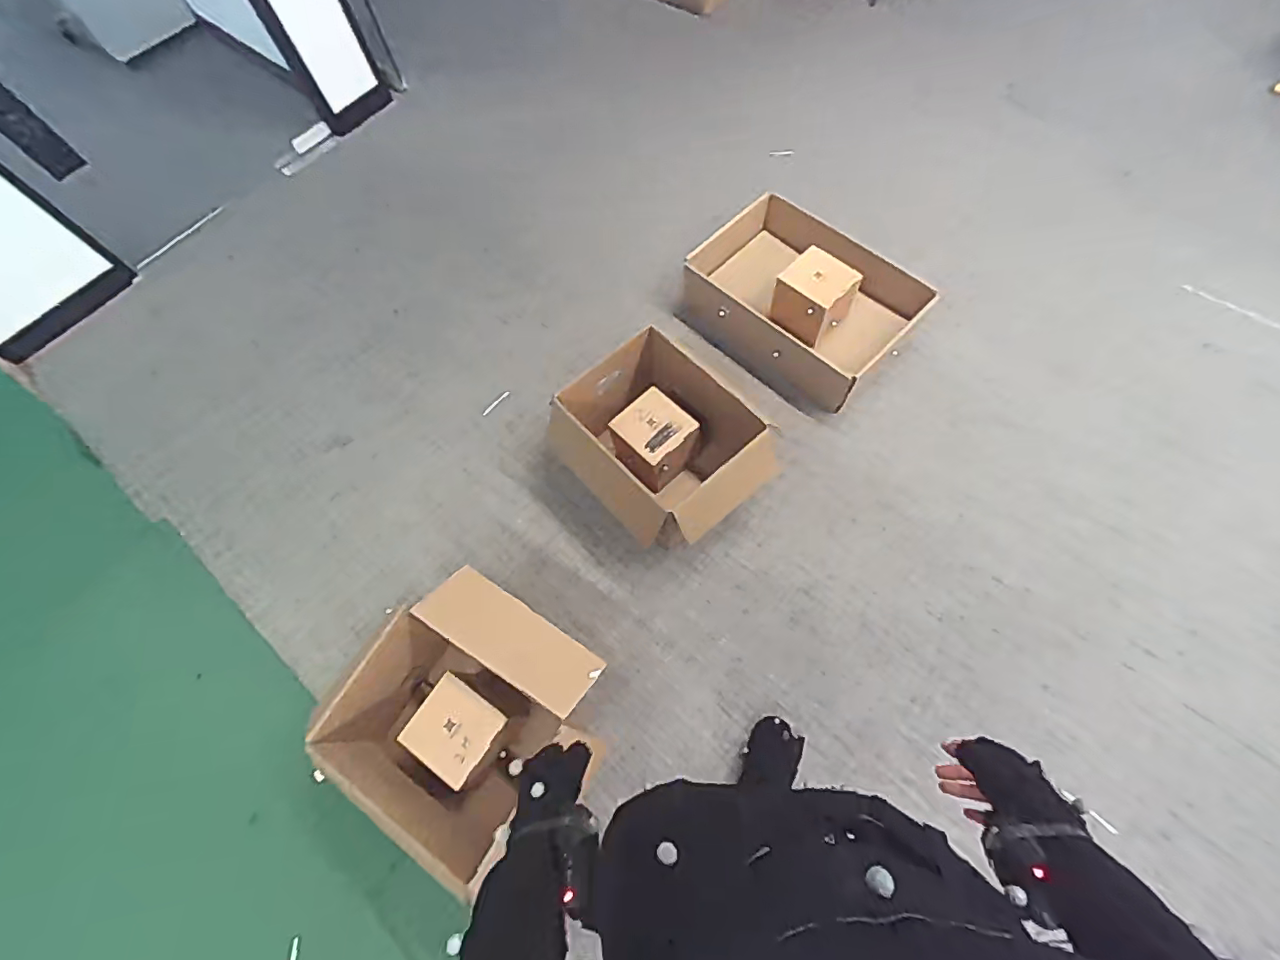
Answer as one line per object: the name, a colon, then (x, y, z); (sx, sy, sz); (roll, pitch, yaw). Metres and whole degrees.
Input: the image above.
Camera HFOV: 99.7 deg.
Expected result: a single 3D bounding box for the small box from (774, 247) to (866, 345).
small box: (0.512, -0.528, 1.569); (0.168, 0.176, 0.179); (-43, 69, -14)
